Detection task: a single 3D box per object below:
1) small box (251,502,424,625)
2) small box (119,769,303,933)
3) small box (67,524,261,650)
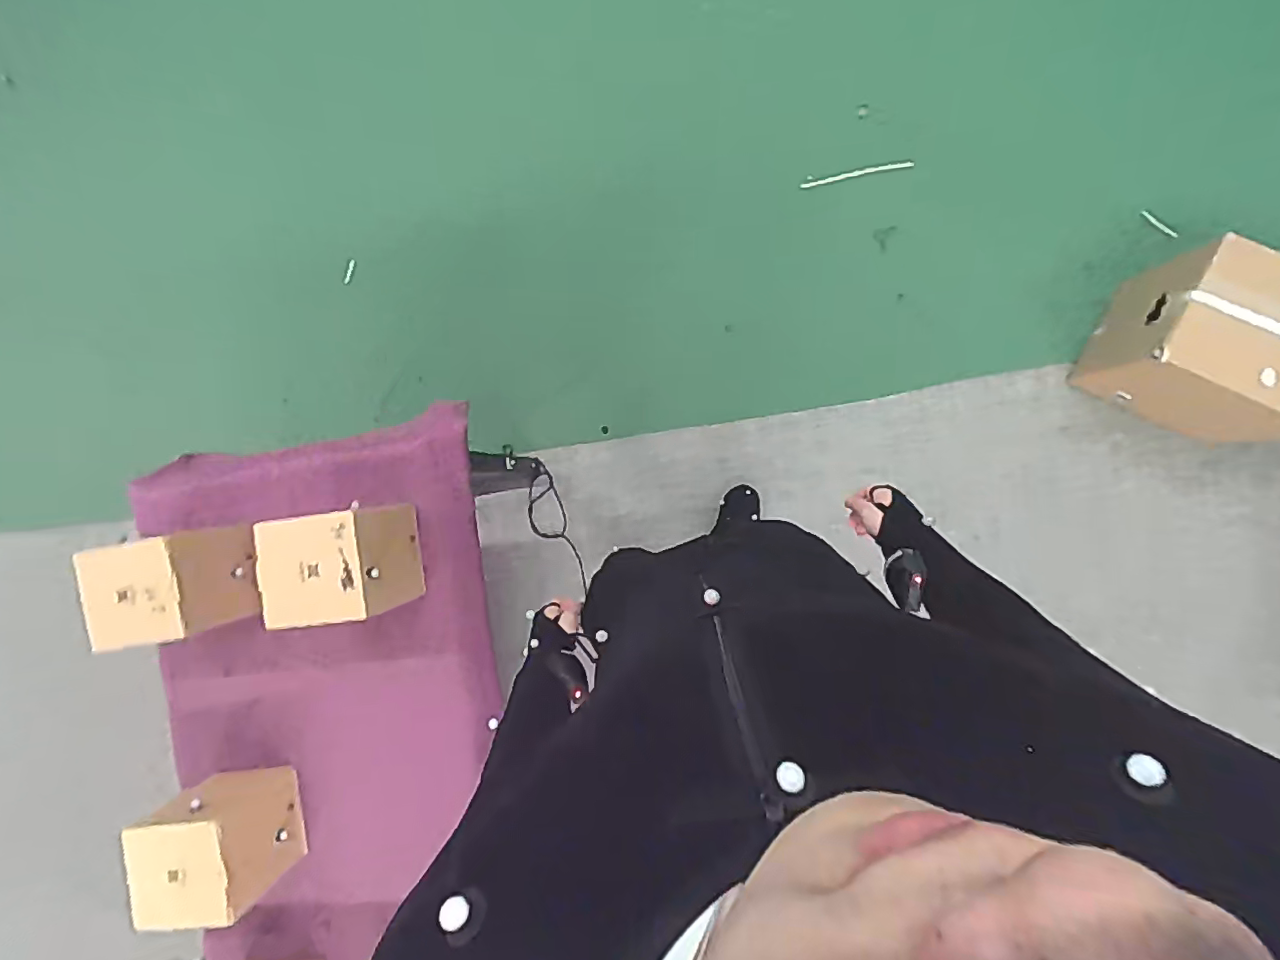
[{"bbox_3d":[-0.488,0.130,0.892,0.179,0.176,0.168,-8,91,9],"label":"small box"},{"bbox_3d":[-0.723,0.624,0.927,0.179,0.176,0.168,-9,89,6],"label":"small box"},{"bbox_3d":[-0.803,0.175,0.929,0.179,0.176,0.168,-10,92,6],"label":"small box"}]
